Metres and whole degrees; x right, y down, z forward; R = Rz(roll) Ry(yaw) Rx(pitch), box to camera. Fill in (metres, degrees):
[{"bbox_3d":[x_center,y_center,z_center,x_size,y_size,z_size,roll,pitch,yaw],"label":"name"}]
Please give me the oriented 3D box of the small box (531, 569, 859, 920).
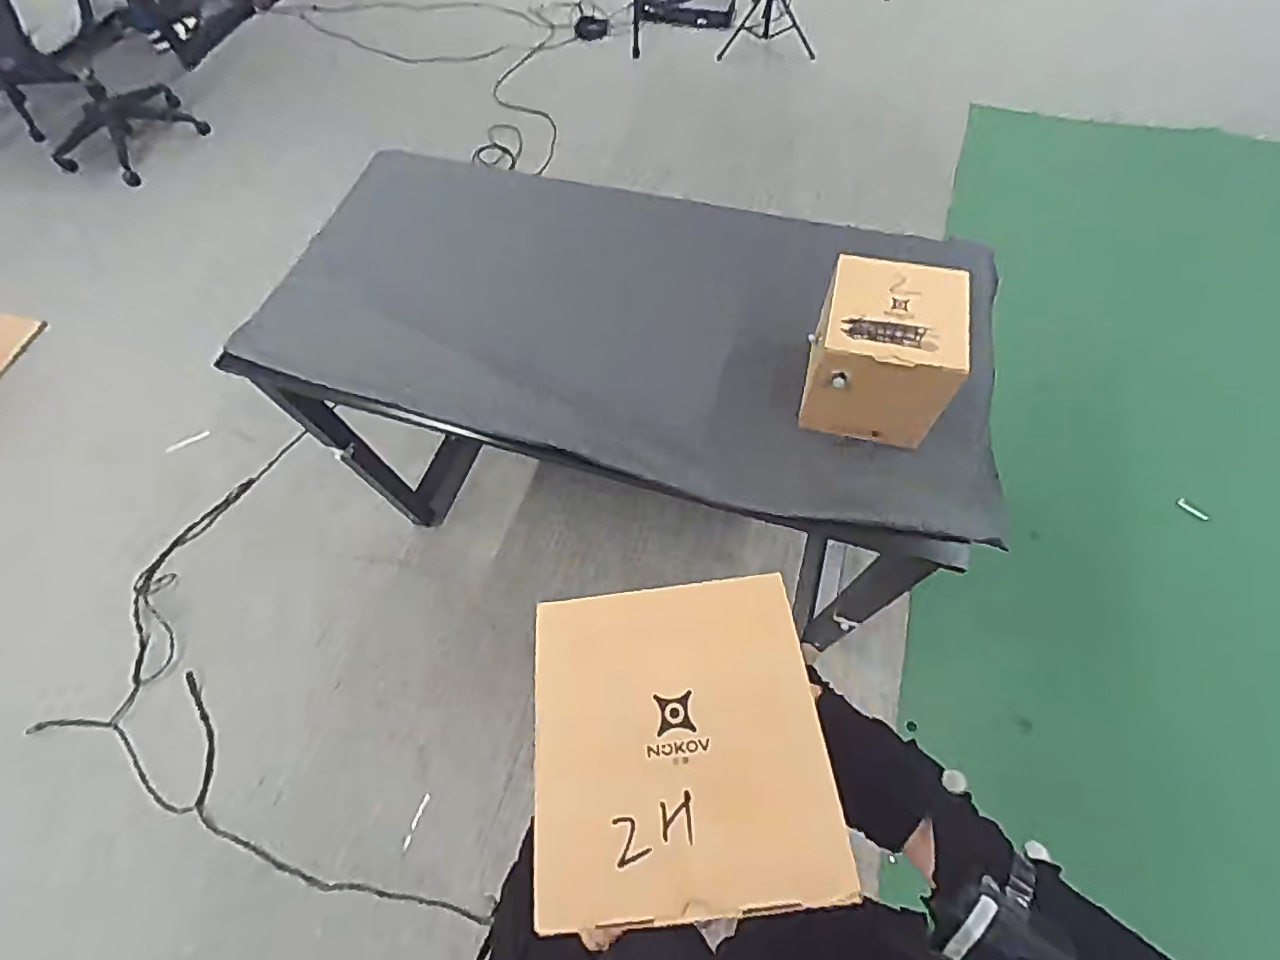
[{"bbox_3d":[0.028,0.182,0.378,0.168,0.176,0.179,-7,57,3],"label":"small box"}]
